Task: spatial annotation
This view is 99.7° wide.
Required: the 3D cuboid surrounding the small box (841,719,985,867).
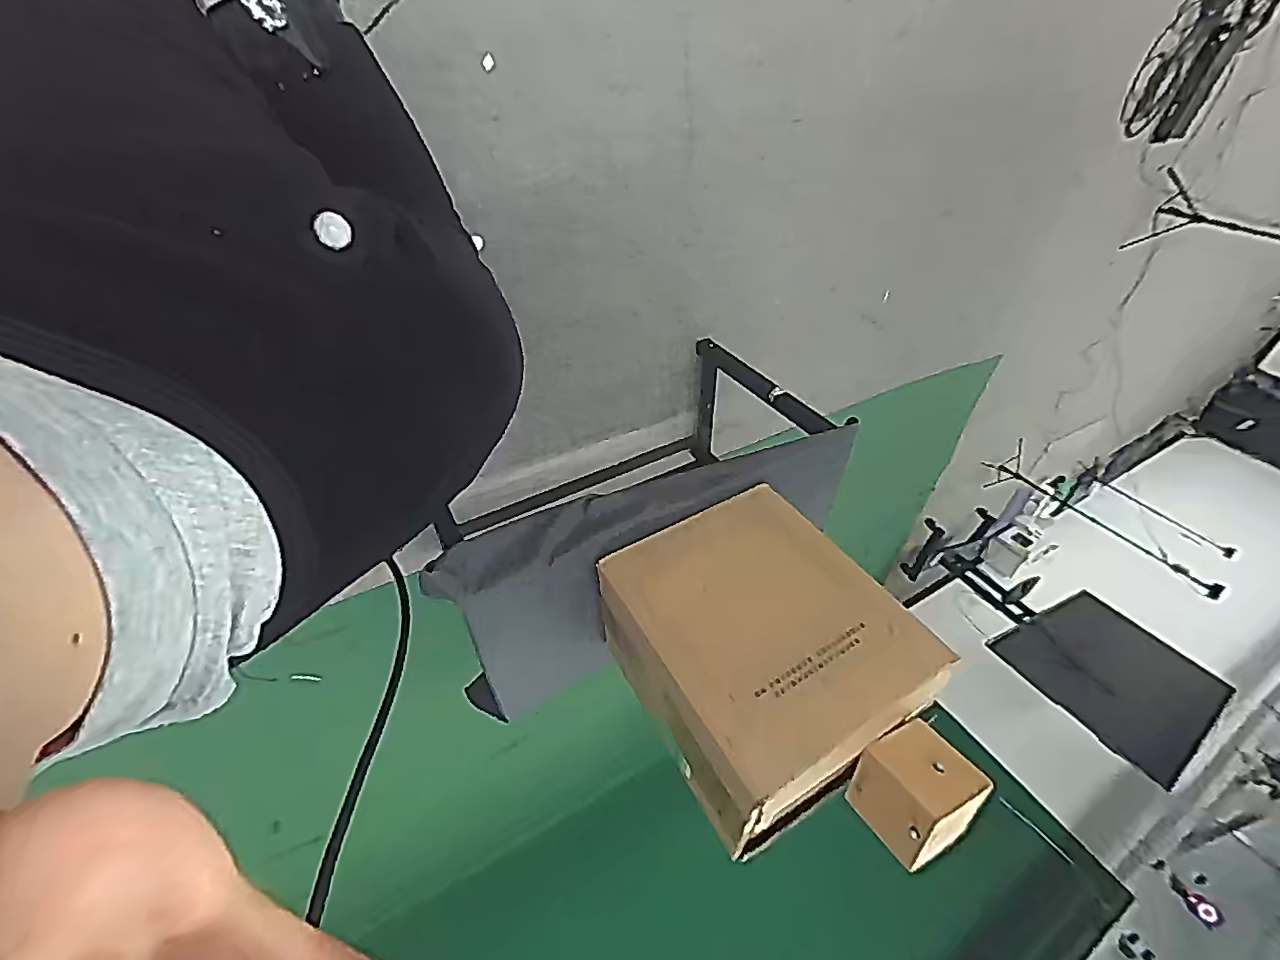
[{"bbox_3d":[0.550,0.627,1.105,0.179,0.176,0.168,-11,121,-28],"label":"small box"}]
